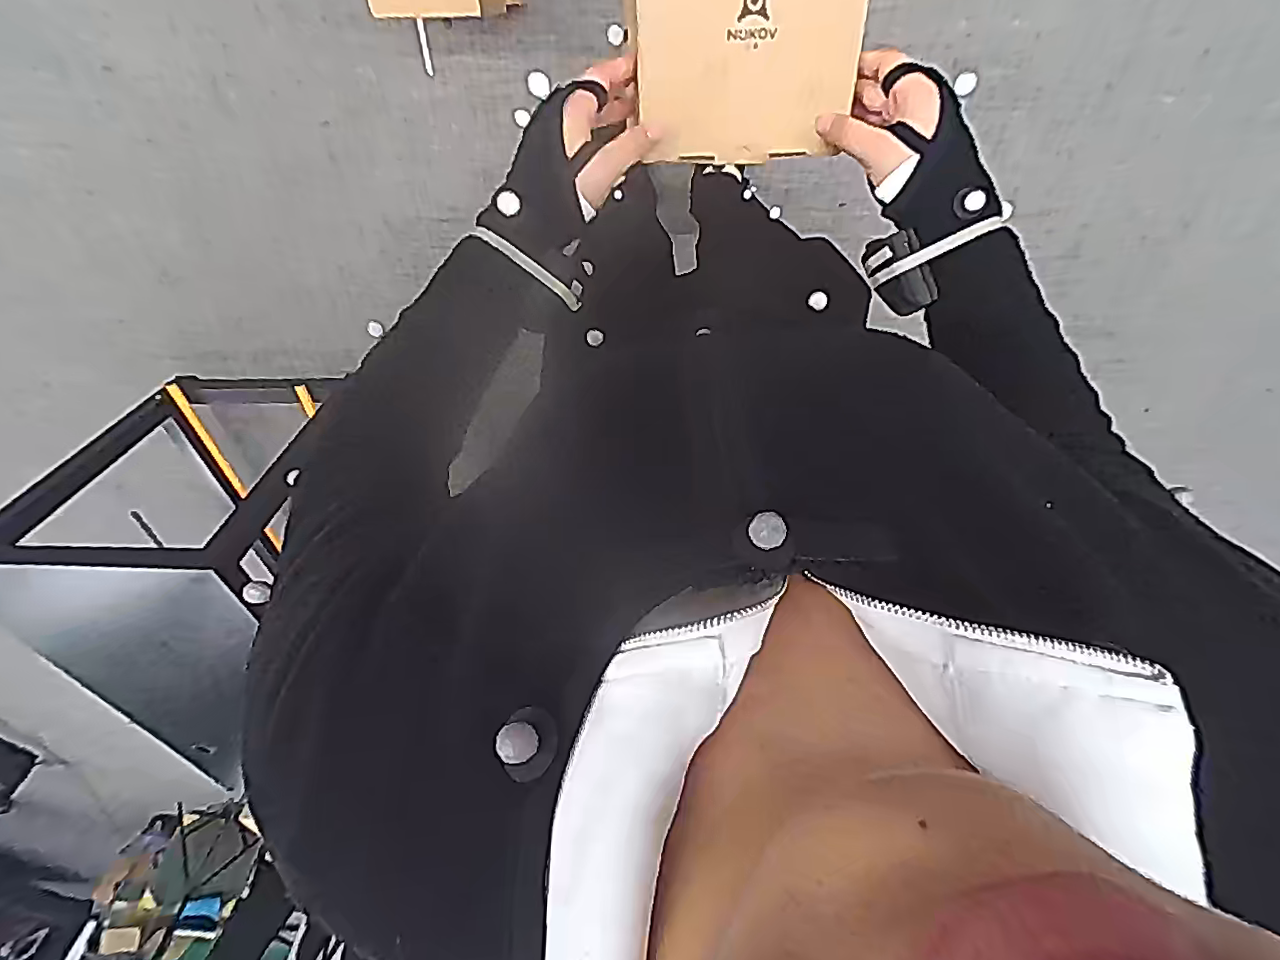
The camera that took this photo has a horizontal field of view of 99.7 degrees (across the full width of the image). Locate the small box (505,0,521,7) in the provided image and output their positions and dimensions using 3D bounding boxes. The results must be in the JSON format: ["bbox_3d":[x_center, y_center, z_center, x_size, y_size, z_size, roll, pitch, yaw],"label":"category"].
[{"bbox_3d":[-0.301,-0.909,0.913,0.179,0.176,0.168,0,132,3],"label":"small box"}]

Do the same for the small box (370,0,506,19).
[{"bbox_3d":[-0.308,-0.797,0.796,0.168,0.176,0.179,1,133,3],"label":"small box"}]

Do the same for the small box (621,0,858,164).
[{"bbox_3d":[0.070,-0.377,0.453,0.168,0.176,0.179,-3,126,-3],"label":"small box"}]
